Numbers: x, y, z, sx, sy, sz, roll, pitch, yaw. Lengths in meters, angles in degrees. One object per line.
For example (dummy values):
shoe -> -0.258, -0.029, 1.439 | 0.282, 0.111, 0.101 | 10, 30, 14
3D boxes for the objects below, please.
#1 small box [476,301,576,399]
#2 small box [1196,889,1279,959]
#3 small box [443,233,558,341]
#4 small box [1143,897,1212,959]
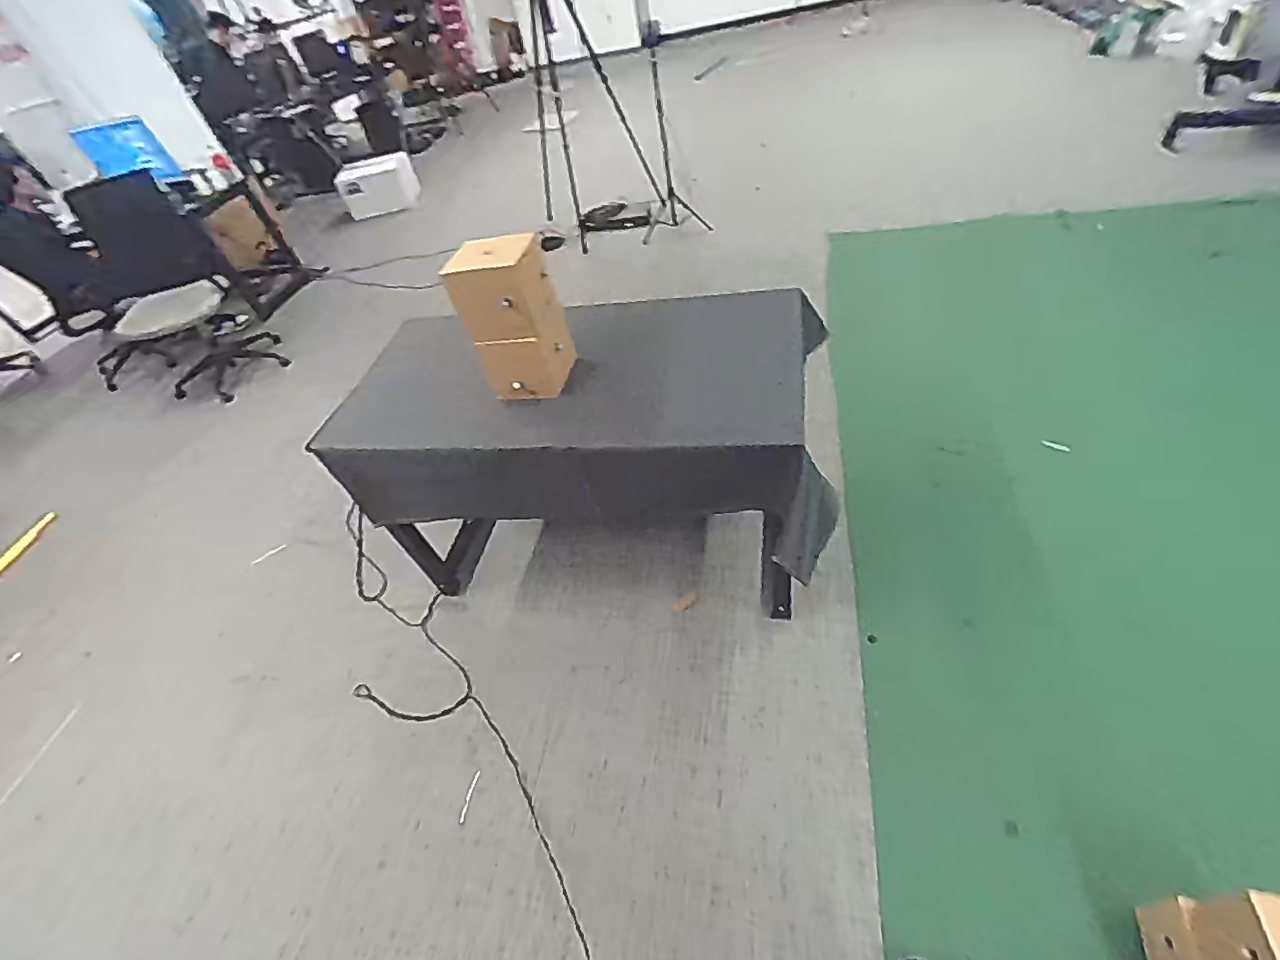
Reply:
small box -> -0.269, -0.318, 1.333 | 0.168, 0.176, 0.179 | 1, 48, 16
small box -> 0.983, 0.739, 0.790 | 0.168, 0.176, 0.179 | 4, 48, 18
small box -> -0.303, -0.432, 1.221 | 0.179, 0.176, 0.168 | -1, 46, 14
small box -> 1.006, 0.845, 0.915 | 0.179, 0.176, 0.168 | 5, 48, 18
